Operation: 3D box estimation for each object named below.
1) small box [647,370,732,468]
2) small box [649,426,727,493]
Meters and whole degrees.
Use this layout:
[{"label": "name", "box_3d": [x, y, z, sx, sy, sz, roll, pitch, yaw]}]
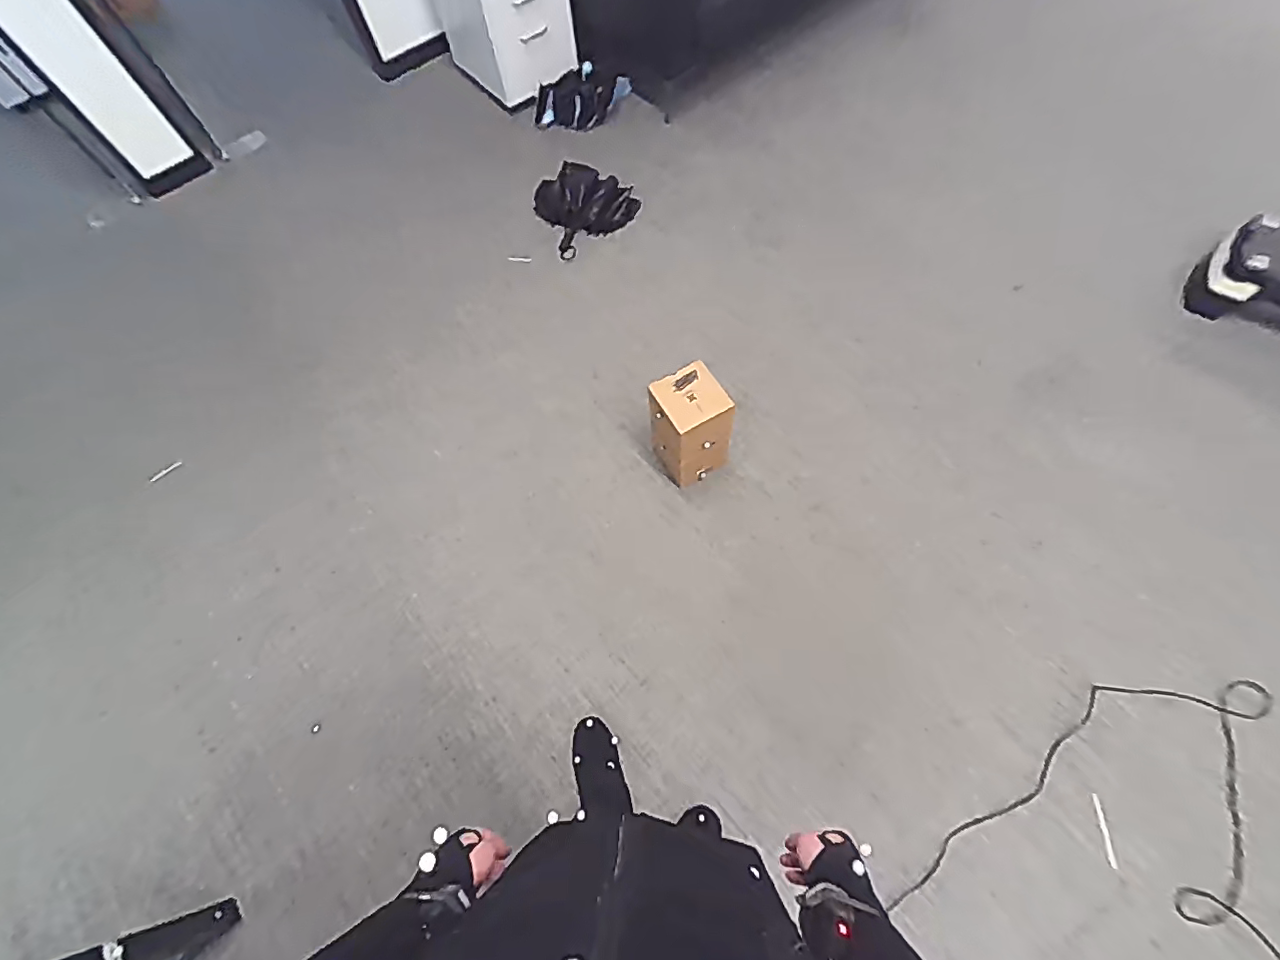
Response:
[{"label": "small box", "box_3d": [0.133, -0.164, 1.490, 0.168, 0.176, 0.179, -28, 66, -9]}, {"label": "small box", "box_3d": [0.141, -0.091, 1.637, 0.168, 0.176, 0.179, -29, 67, -9]}]
